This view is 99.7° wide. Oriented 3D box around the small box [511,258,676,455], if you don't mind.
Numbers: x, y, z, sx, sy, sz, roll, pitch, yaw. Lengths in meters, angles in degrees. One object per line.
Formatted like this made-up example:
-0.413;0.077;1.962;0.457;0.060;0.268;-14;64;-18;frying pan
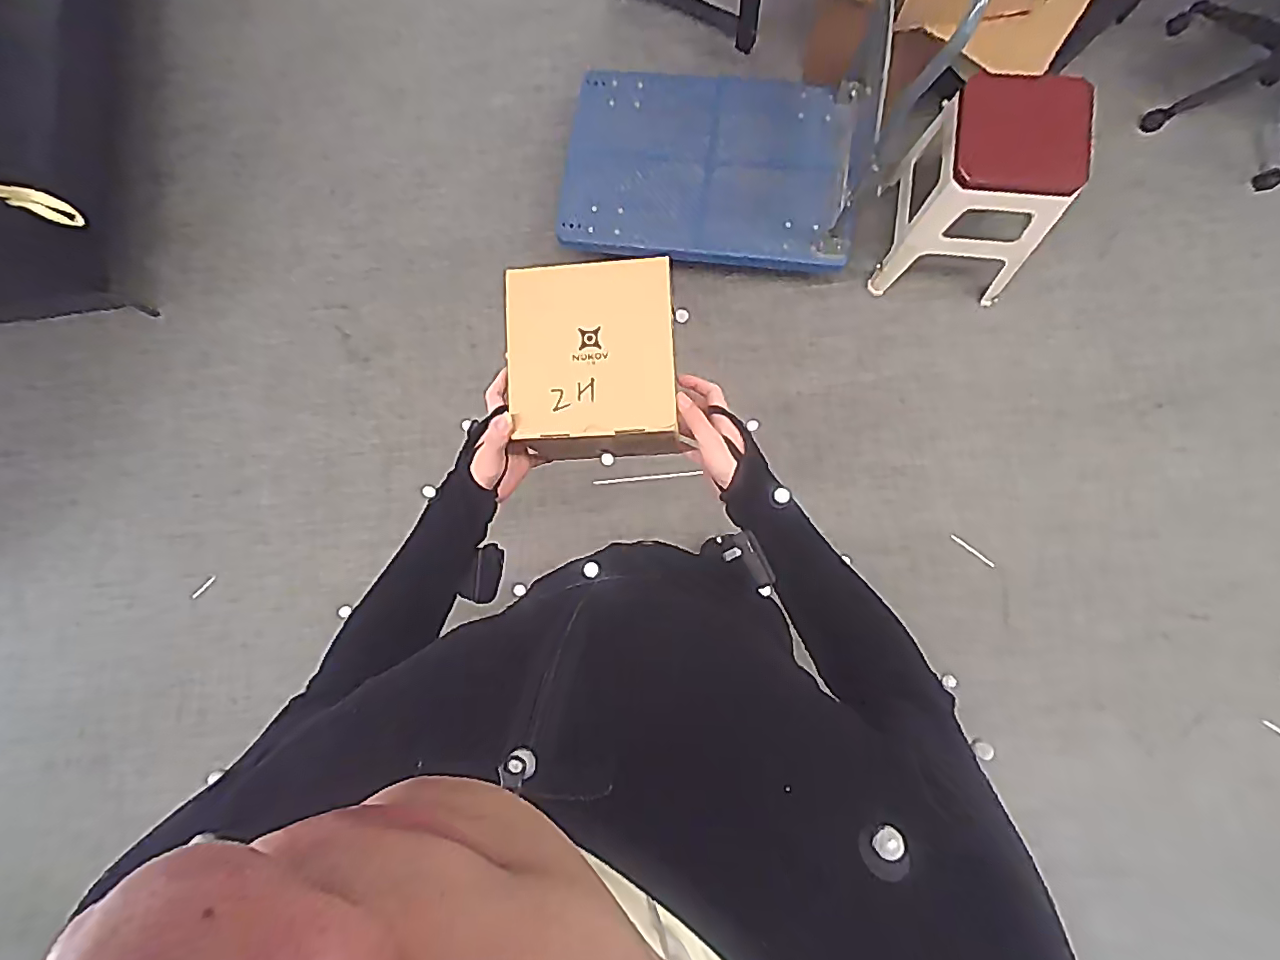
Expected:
-0.043;-0.128;0.619;0.168;0.176;0.179;-2;85;5;small box
